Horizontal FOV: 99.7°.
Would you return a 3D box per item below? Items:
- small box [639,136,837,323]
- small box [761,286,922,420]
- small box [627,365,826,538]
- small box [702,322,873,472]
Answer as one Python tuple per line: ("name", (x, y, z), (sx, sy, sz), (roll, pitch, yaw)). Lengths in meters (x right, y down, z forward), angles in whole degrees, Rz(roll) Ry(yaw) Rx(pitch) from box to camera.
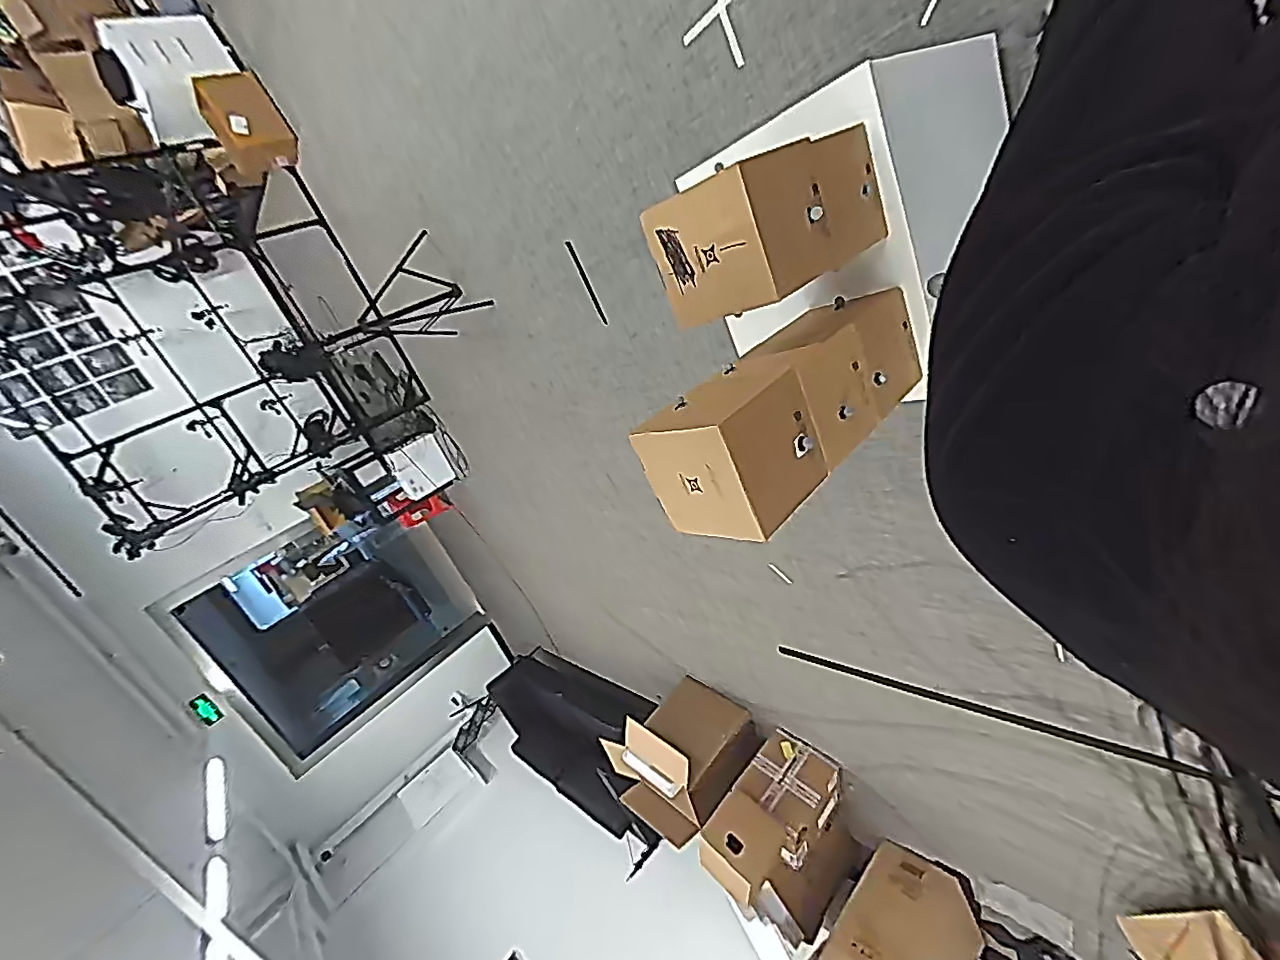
("small box", (0.136, -0.335, 0.737), (0.179, 0.176, 0.168), (3, 125, 50))
("small box", (0.342, -0.207, 0.914), (0.179, 0.176, 0.168), (3, 123, 52))
("small box", (0.120, -0.041, 0.743), (0.179, 0.176, 0.168), (-1, 121, 52))
("small box", (0.232, -0.124, 0.827), (0.179, 0.176, 0.168), (0, 122, 53))
